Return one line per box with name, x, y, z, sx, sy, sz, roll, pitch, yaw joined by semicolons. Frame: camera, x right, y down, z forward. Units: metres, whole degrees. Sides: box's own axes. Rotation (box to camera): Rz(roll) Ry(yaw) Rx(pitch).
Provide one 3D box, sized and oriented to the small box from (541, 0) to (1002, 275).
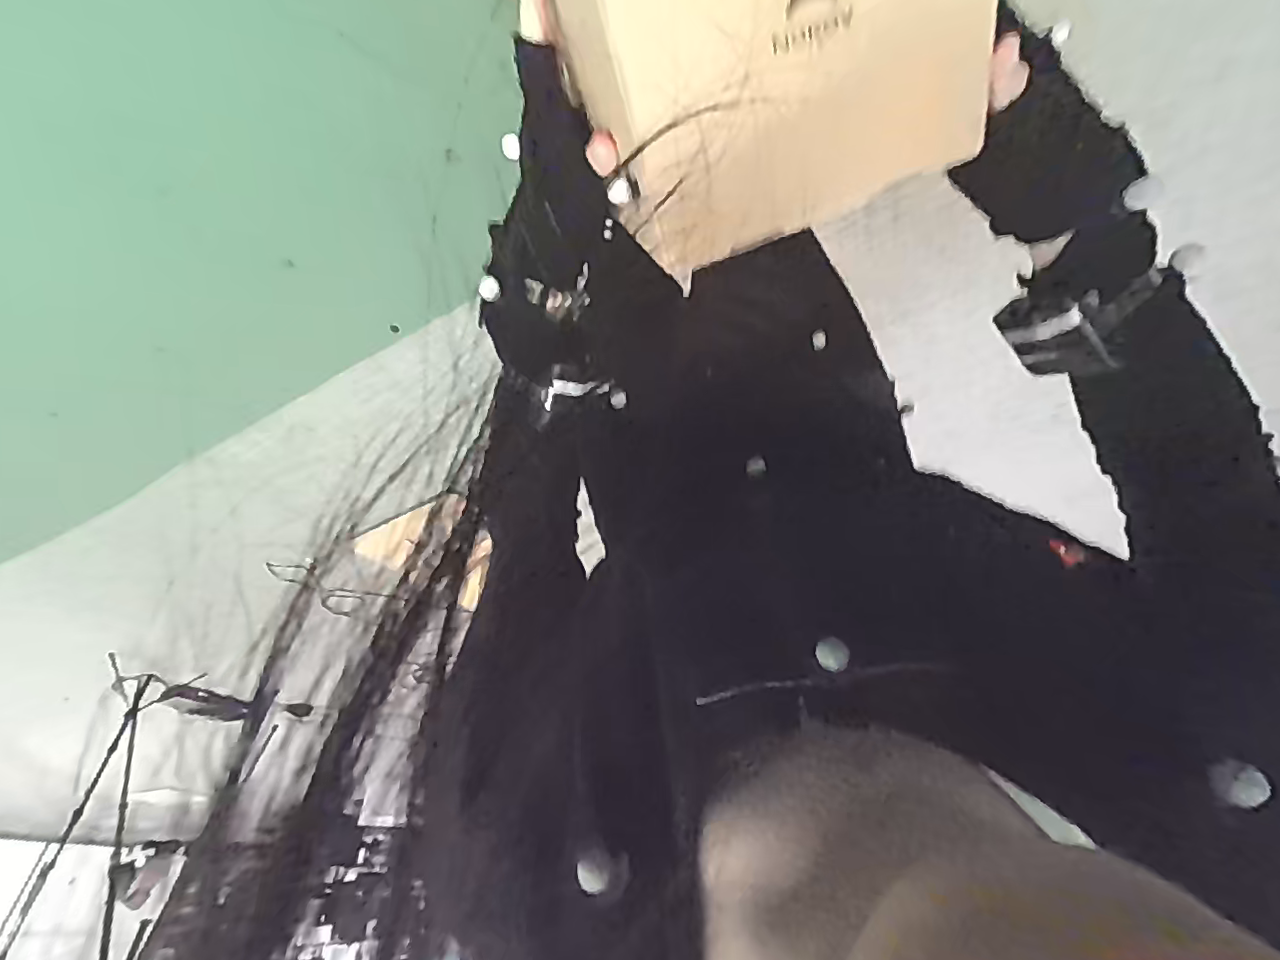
small box;0.046;-0.236;0.269;0.168;0.176;0.179;-22;129;2
